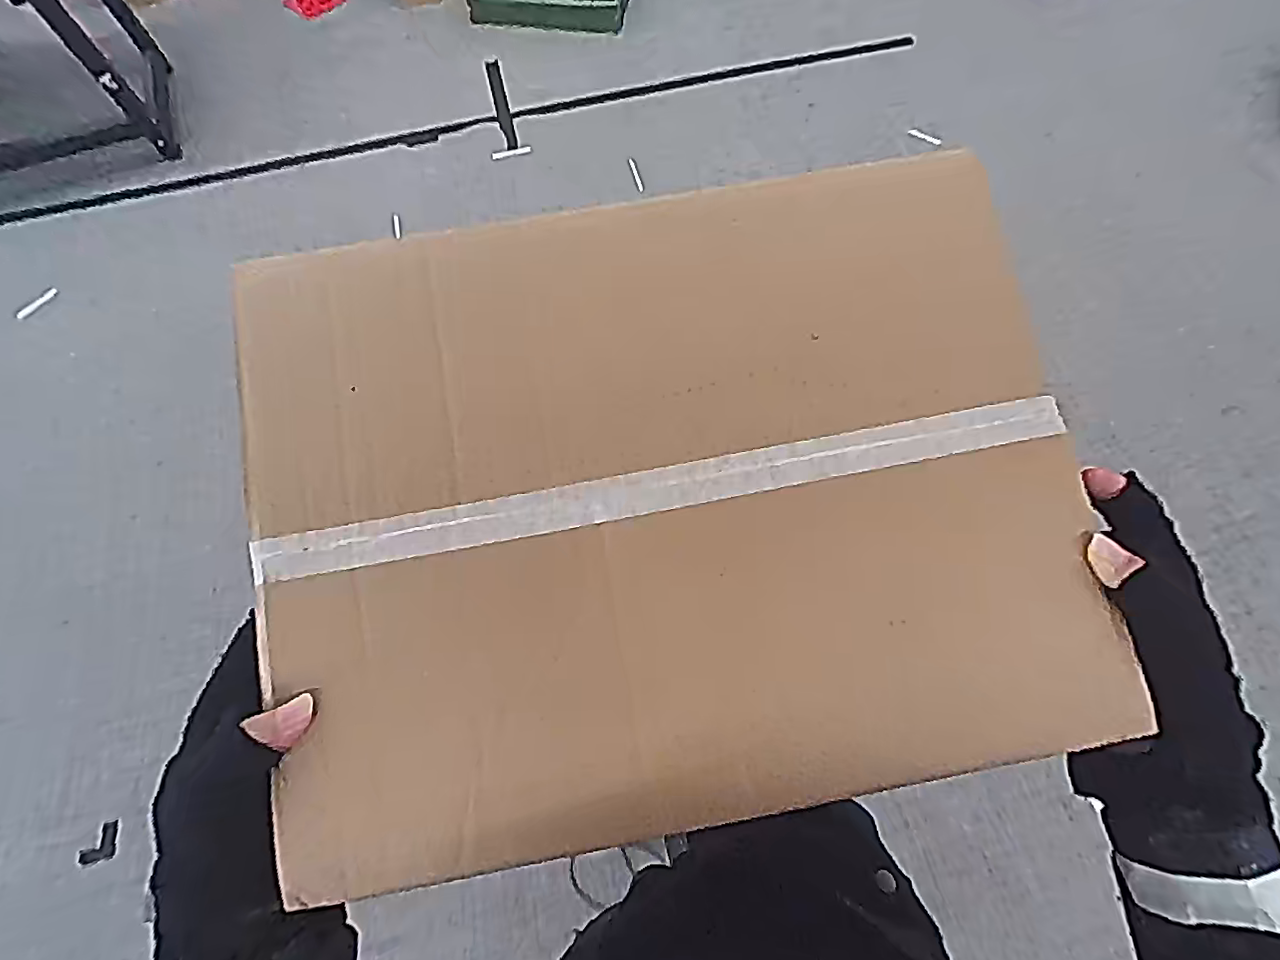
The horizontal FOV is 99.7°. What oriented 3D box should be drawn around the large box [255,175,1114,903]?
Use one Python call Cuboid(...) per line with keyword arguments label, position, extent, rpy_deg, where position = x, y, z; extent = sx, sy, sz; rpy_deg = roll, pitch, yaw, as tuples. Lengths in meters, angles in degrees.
Cuboid(label="large box", position=(0.013, 0.032, 0.426), extent=(0.408, 0.320, 0.320), rpy_deg=(-11, 81, -2))
